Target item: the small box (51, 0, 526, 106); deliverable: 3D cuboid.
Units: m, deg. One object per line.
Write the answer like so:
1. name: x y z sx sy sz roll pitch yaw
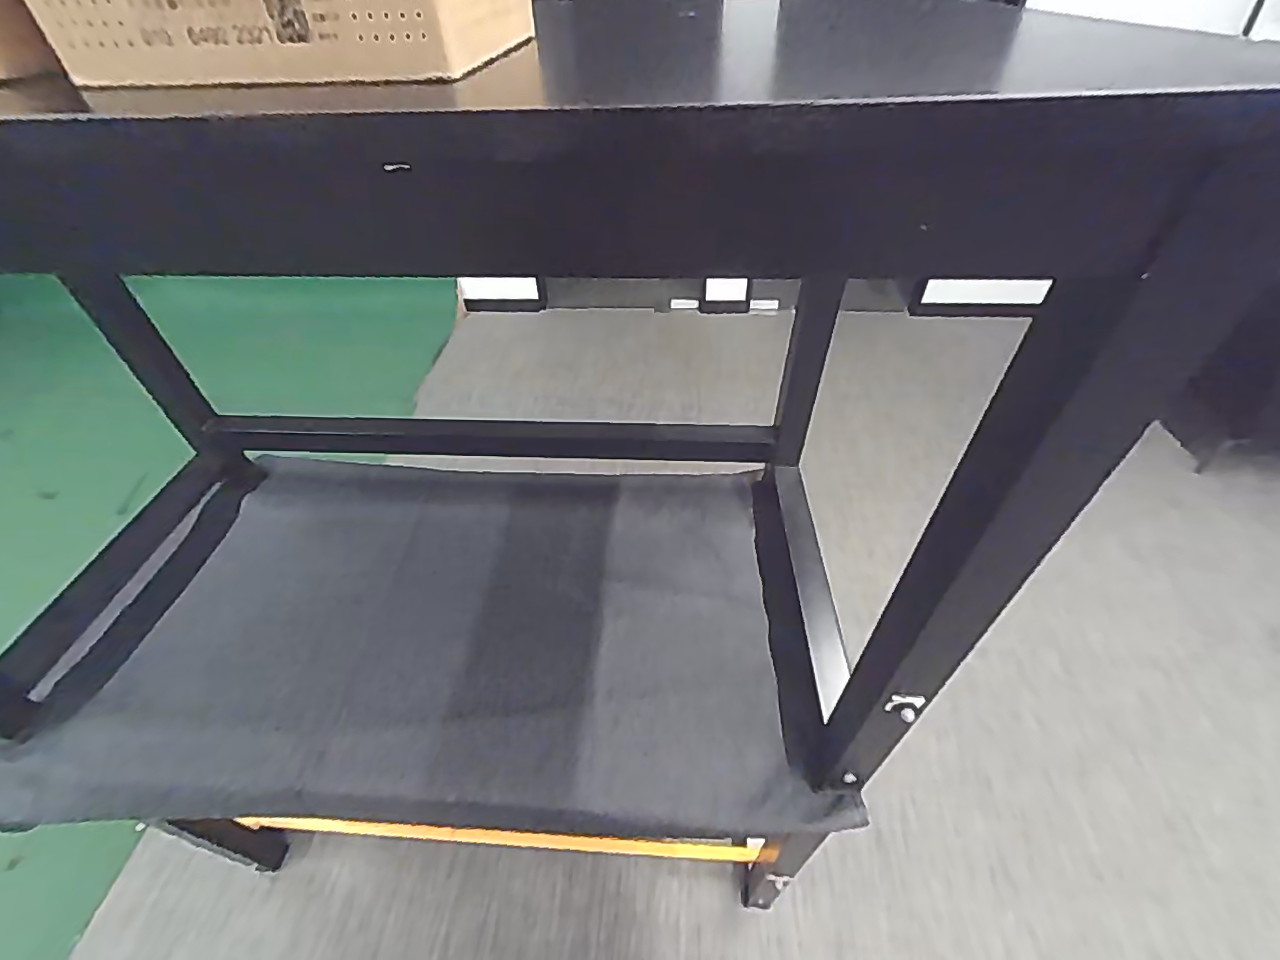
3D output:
1. small box: -0.155 -0.276 0.236 0.168 0.176 0.179 1 44 3
